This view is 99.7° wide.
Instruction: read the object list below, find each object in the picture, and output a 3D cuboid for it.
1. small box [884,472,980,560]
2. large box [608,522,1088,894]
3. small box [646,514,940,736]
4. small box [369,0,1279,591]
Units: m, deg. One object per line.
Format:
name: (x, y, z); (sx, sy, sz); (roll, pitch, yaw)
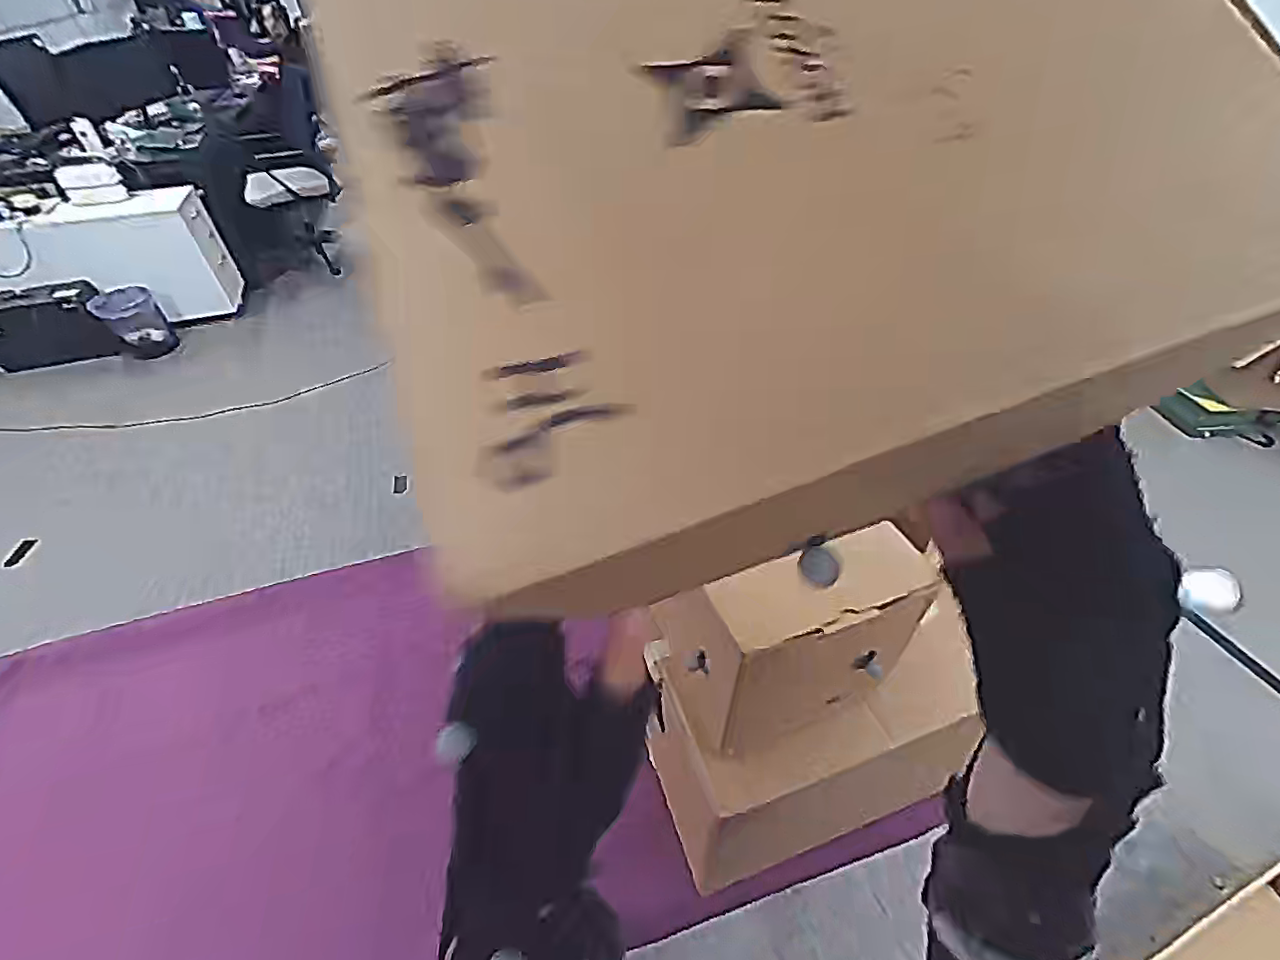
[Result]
small box: (0.246, -0.014, 0.575); (0.179, 0.176, 0.168); (30, 52, 31)
large box: (0.200, 0.230, 0.676); (0.408, 0.320, 0.320); (-15, 46, -14)
small box: (0.108, 0.094, 0.469); (0.168, 0.176, 0.179); (-15, 44, -15)
small box: (0.042, -0.068, 0.189); (0.179, 0.176, 0.168); (-19, 74, 0)
